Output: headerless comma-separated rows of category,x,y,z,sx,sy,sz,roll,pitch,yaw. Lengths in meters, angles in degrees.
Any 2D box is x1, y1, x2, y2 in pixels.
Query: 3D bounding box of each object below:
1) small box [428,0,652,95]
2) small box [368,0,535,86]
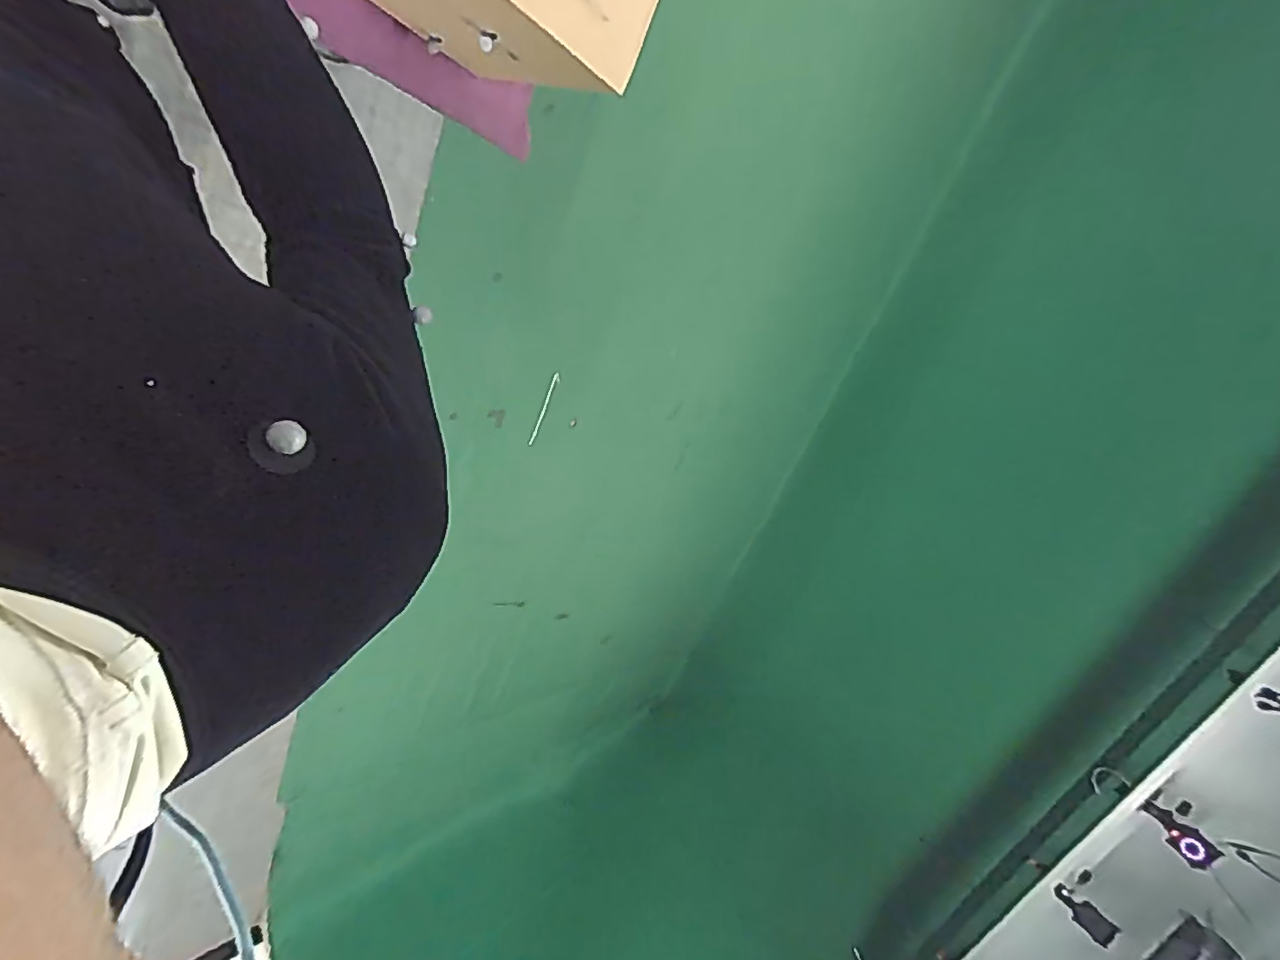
small box,-0.097,-0.538,0.552,0.168,0.176,0.179,5,116,-49
small box,-0.208,-0.615,0.644,0.179,0.176,0.168,4,116,-51
